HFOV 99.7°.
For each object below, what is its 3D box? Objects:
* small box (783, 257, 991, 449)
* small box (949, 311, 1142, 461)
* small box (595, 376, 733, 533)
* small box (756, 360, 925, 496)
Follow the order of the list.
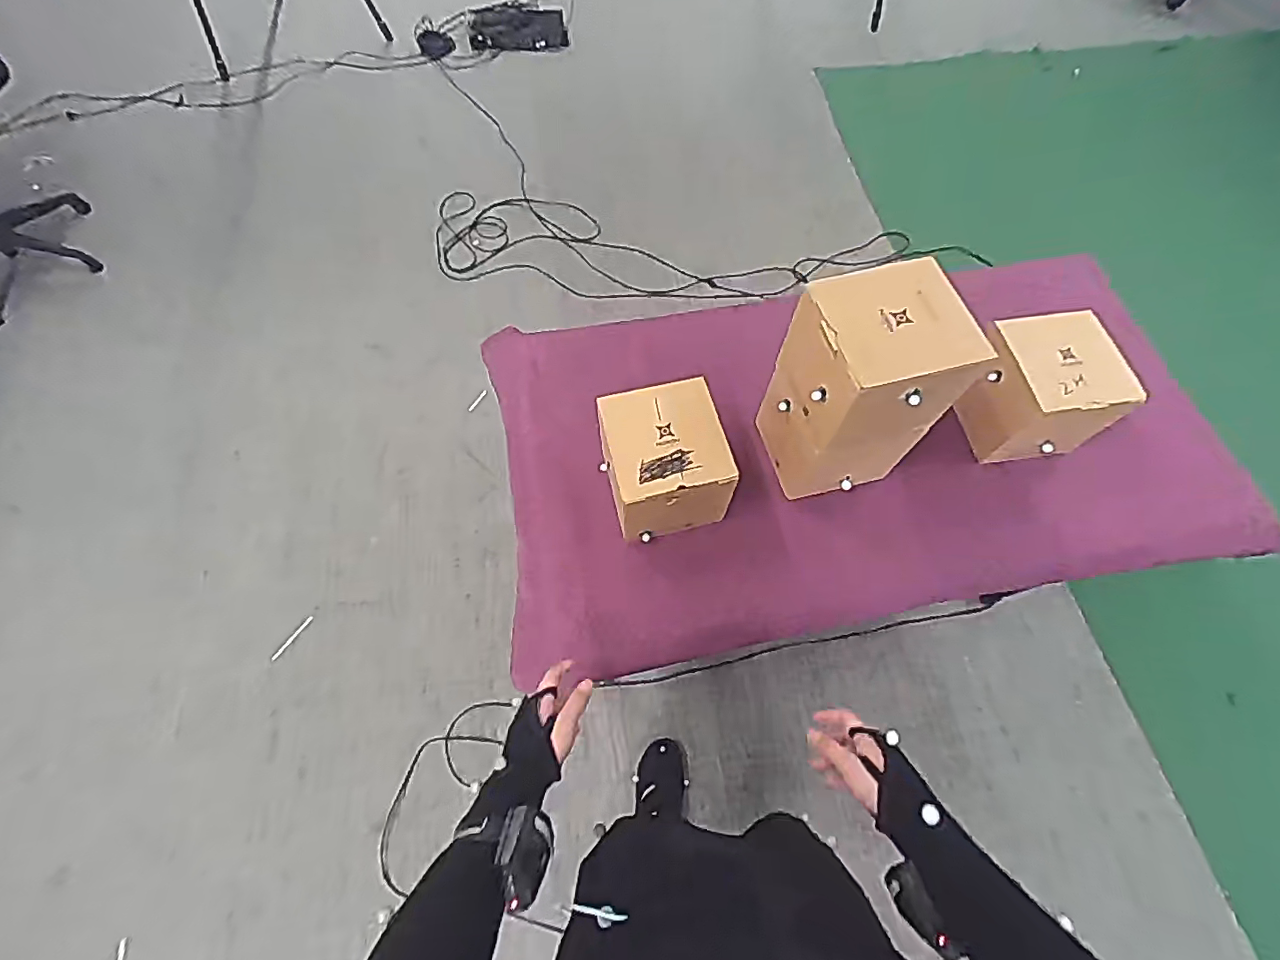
[{"bbox_3d":[0.304,-0.159,0.719,0.179,0.176,0.168,-13,67,-6],"label":"small box"},{"bbox_3d":[0.646,-0.151,0.896,0.168,0.176,0.179,-7,66,-3],"label":"small box"},{"bbox_3d":[0.033,-0.029,0.837,0.168,0.176,0.179,-12,65,-6],"label":"small box"},{"bbox_3d":[0.306,-0.091,0.868,0.179,0.176,0.168,-12,66,-6],"label":"small box"}]
